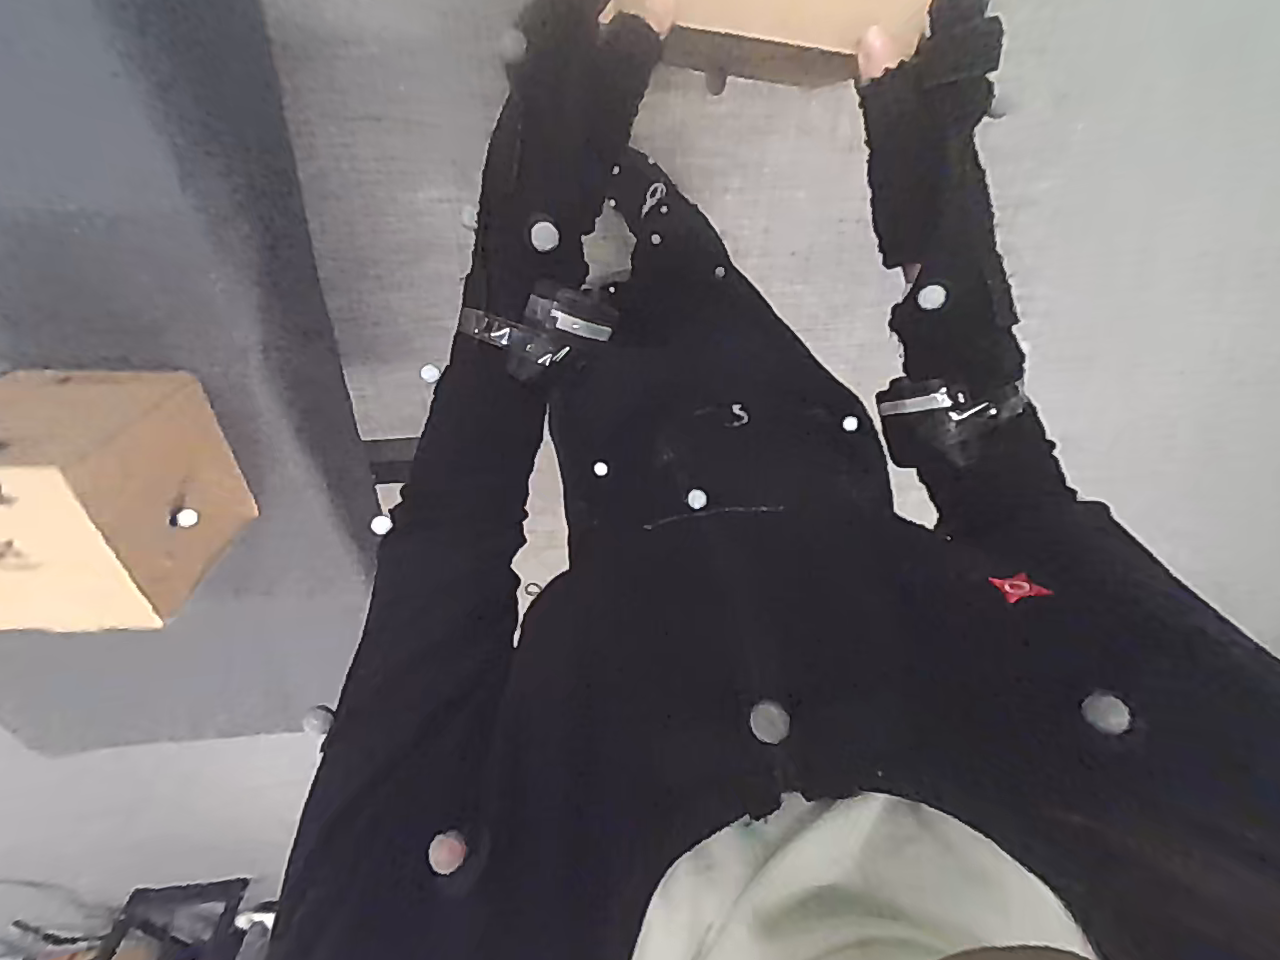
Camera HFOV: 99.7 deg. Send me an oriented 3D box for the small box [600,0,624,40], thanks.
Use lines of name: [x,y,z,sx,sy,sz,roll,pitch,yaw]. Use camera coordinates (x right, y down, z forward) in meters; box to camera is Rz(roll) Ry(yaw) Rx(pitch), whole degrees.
small box: [0.025,-0.808,0.855,0.168,0.176,0.179,4,127,-5]

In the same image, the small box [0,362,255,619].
small box: [-0.506,0.008,0.502,0.168,0.176,0.179,0,126,-4]

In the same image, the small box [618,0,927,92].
small box: [0.077,-0.353,0.319,0.168,0.176,0.179,6,122,-6]
